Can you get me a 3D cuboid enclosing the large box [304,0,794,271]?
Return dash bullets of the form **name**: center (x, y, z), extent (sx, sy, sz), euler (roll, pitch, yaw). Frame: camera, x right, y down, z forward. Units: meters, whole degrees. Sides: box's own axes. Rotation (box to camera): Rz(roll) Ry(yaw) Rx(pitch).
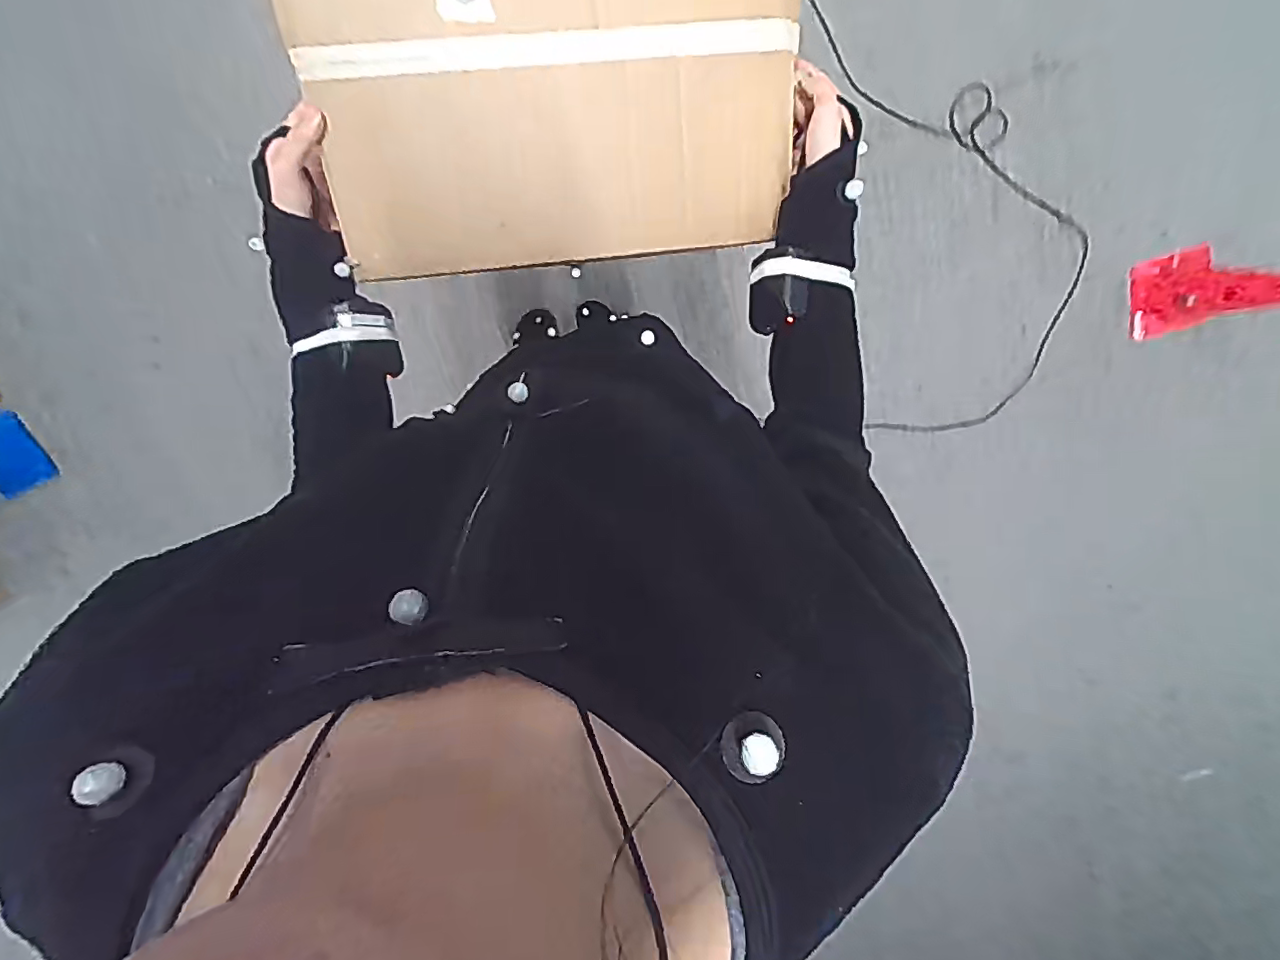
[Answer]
- **large box**: center (-0.082, -0.414, 0.589), extent (0.408, 0.320, 0.320), euler (-7, 113, -6)
